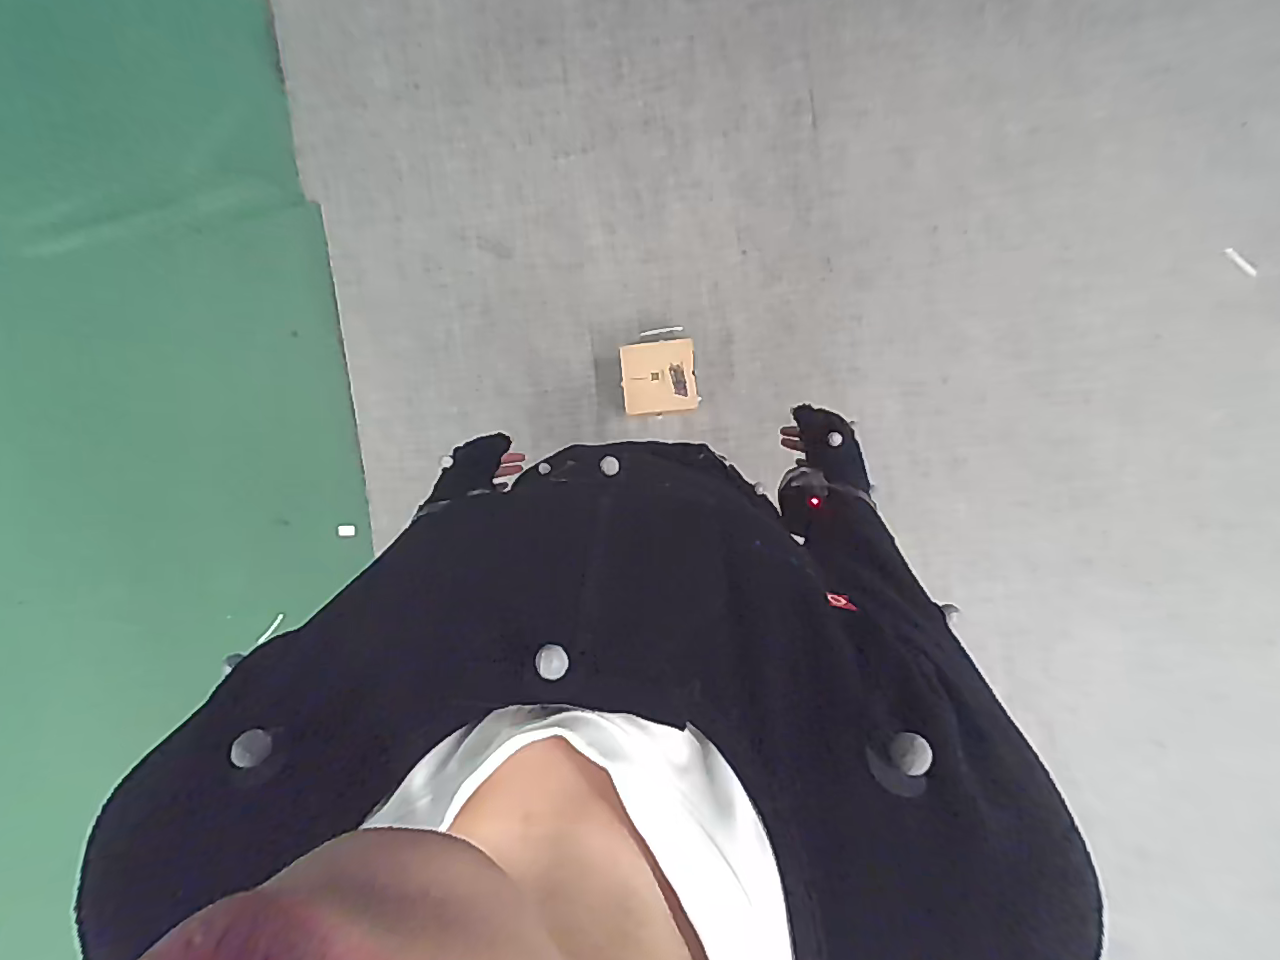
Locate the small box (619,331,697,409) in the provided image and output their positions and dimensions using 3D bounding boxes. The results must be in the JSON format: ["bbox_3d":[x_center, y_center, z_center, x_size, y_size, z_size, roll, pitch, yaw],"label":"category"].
[{"bbox_3d":[0.048,-0.271,1.361,0.179,0.176,0.168,-5,93,6],"label":"small box"}]
